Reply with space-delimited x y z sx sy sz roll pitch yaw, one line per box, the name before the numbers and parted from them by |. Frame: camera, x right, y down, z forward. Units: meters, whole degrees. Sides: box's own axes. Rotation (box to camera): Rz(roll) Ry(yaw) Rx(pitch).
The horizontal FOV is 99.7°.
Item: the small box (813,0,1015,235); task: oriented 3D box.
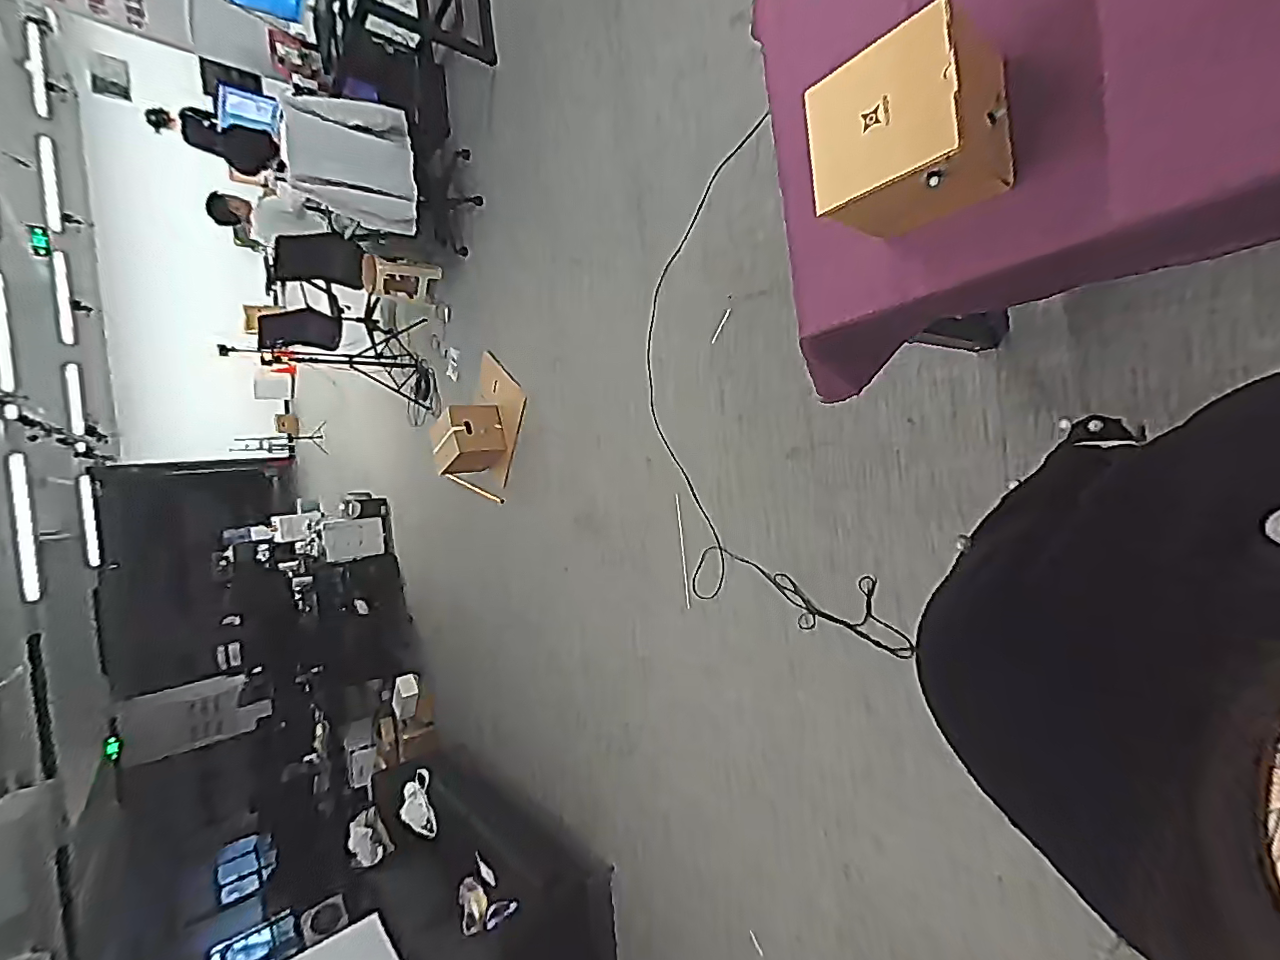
small box | 0.351 -0.441 0.699 0.179 0.176 0.168 -5 90 51
